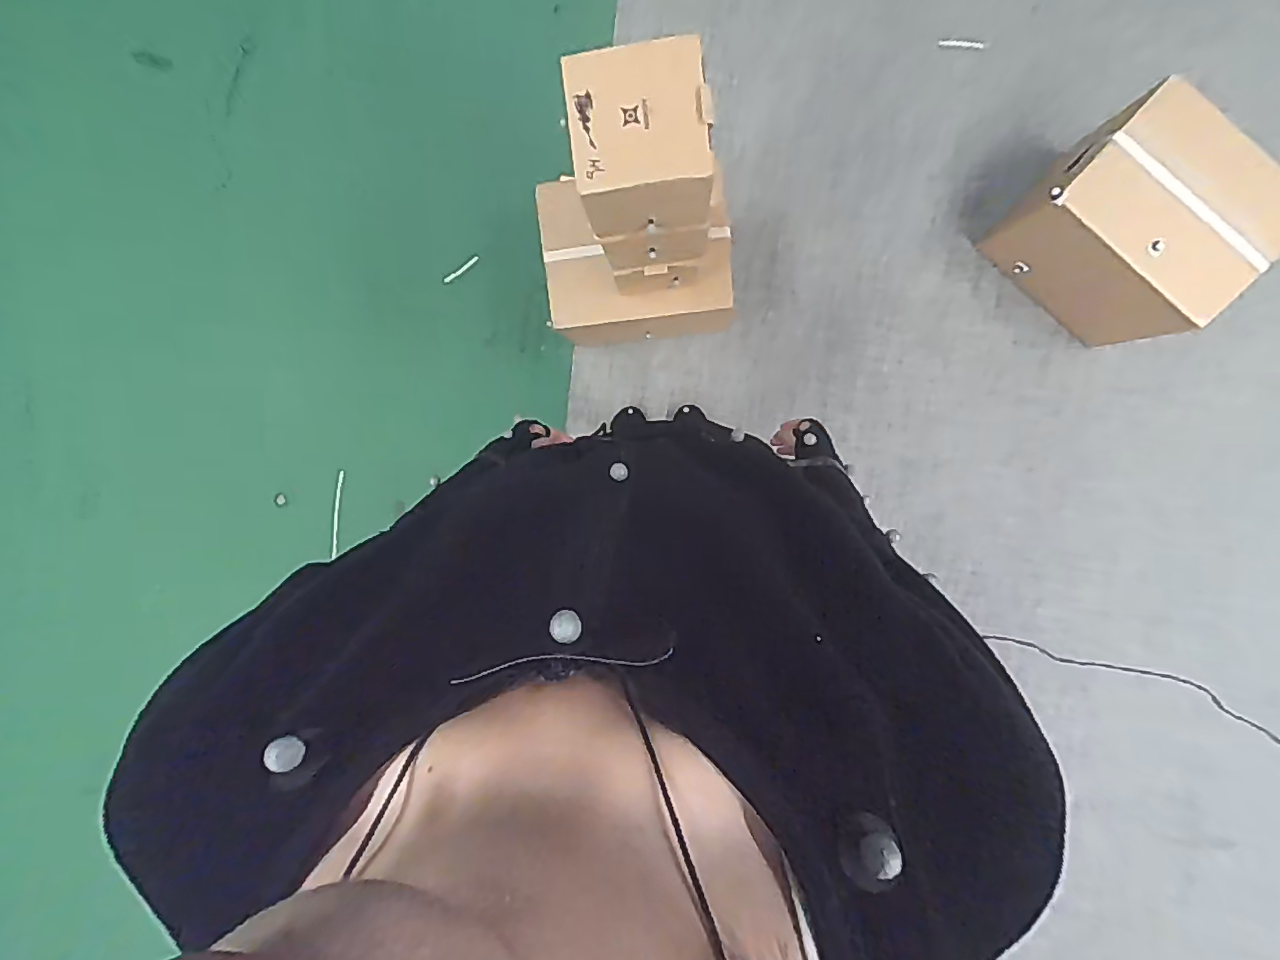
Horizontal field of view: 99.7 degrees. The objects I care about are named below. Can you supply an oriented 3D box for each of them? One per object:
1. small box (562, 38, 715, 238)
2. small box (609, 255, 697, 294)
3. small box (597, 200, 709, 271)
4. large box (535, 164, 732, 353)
[{"bbox_3d":[0.001,-0.451,0.741,0.179,0.176,0.168,-6,95,3],"label":"small box"},{"bbox_3d":[0.025,-0.476,1.067,0.168,0.176,0.179,-5,95,4],"label":"small box"},{"bbox_3d":[0.016,-0.464,0.904,0.179,0.176,0.168,-7,95,5],"label":"small box"},{"bbox_3d":[-0.001,-0.507,1.312,0.408,0.320,0.320,-6,94,6],"label":"large box"}]
